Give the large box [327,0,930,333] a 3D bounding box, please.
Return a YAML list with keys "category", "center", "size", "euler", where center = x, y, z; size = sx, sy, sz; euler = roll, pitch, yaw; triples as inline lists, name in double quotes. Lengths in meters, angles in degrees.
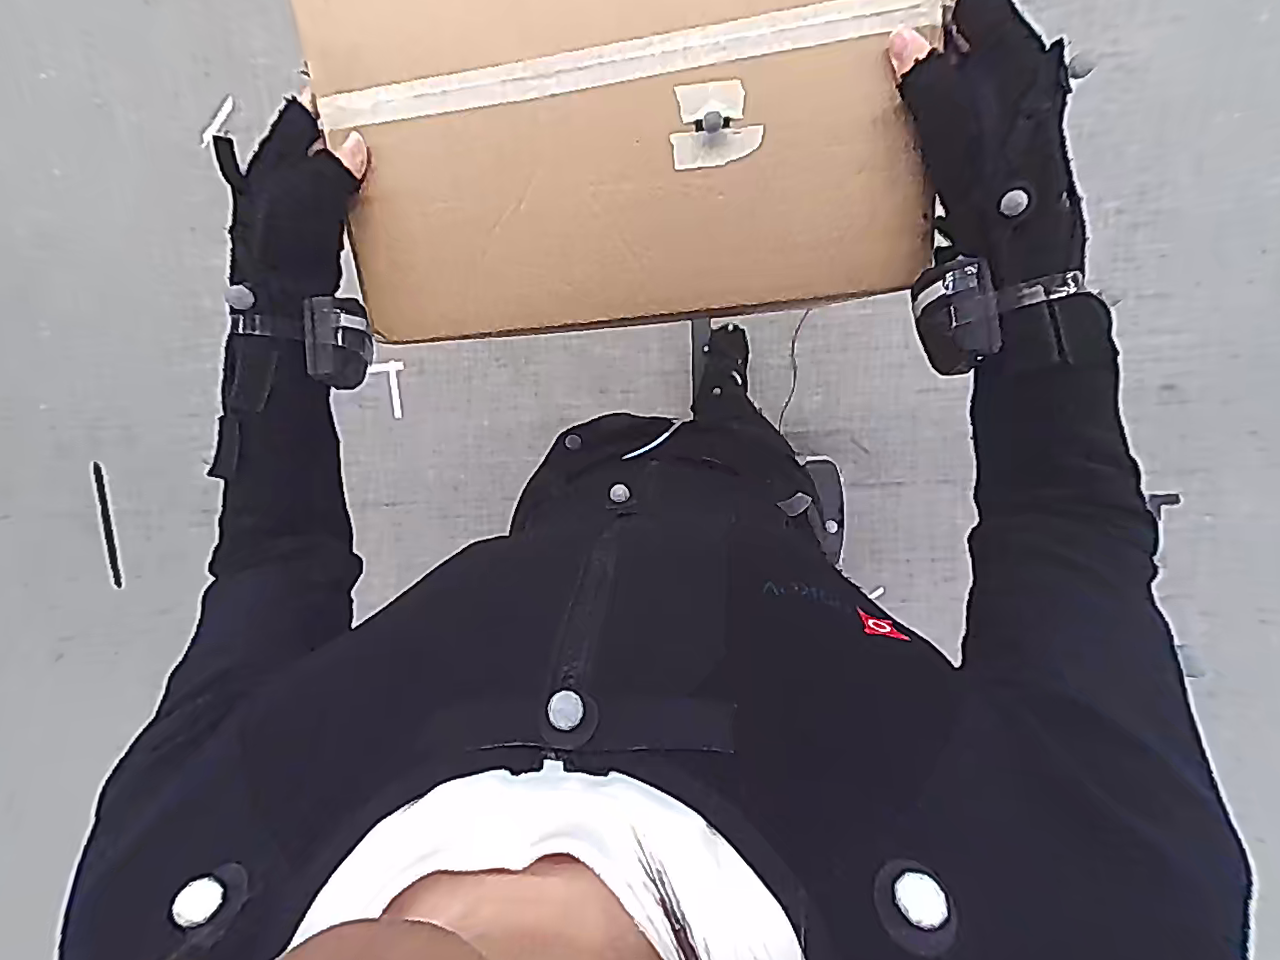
- category: "large box"
  center: [0.001, -0.319, 0.507]
  size: [0.408, 0.320, 0.320]
  euler: [-4, 106, 8]
